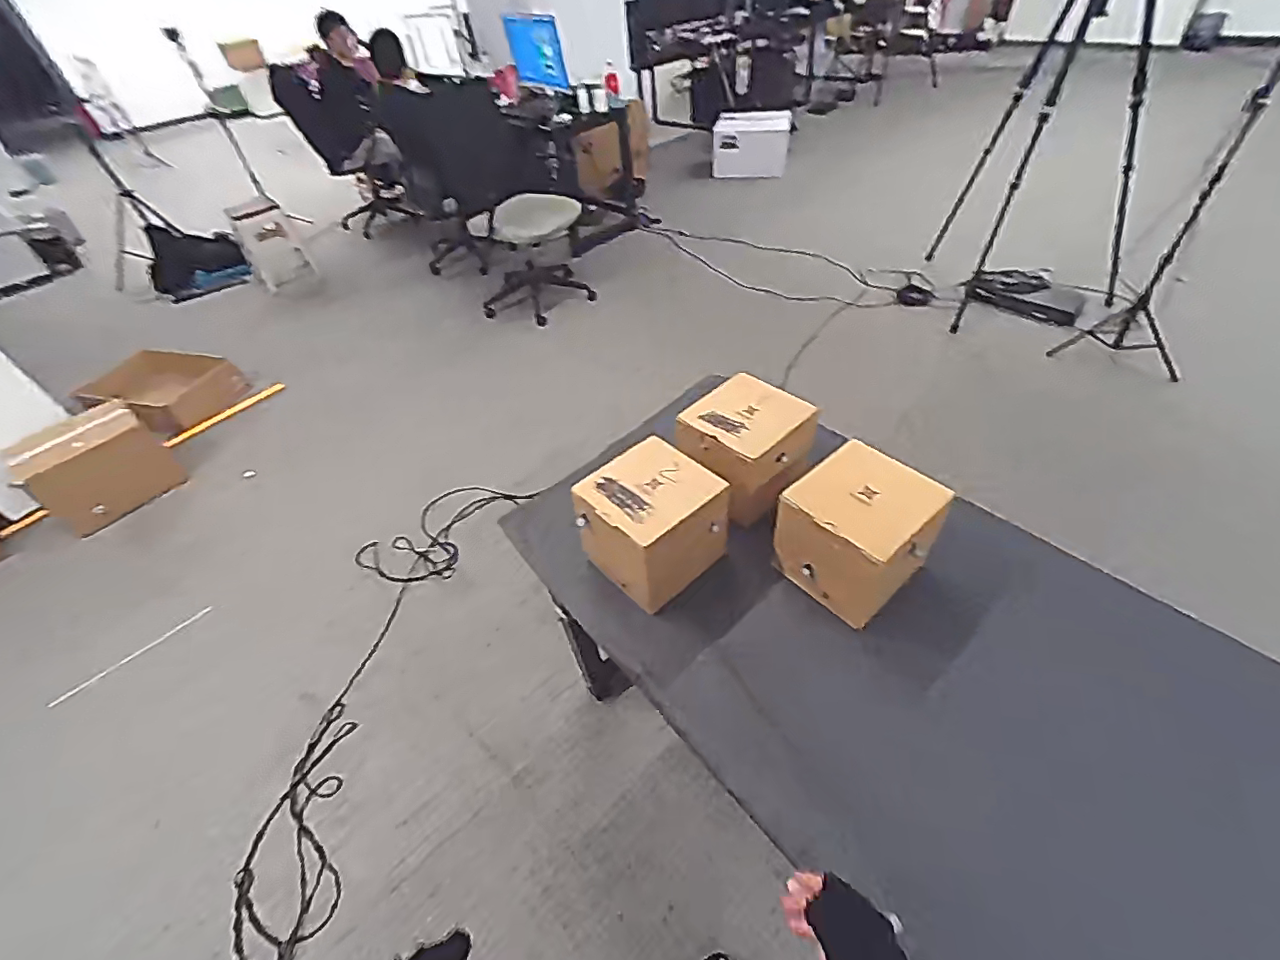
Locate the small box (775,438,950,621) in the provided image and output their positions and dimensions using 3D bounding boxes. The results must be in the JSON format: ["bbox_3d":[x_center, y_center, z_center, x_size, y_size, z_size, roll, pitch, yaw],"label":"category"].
[{"bbox_3d":[0.321,0.074,0.816,0.179,0.176,0.168,-34,52,-23],"label":"small box"}]

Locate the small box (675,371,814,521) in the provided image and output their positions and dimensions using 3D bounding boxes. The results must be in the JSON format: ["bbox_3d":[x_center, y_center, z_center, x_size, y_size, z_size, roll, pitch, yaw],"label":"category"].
[{"bbox_3d":[0.182,-0.058,0.961,0.179,0.176,0.168,-36,52,-26],"label":"small box"}]
